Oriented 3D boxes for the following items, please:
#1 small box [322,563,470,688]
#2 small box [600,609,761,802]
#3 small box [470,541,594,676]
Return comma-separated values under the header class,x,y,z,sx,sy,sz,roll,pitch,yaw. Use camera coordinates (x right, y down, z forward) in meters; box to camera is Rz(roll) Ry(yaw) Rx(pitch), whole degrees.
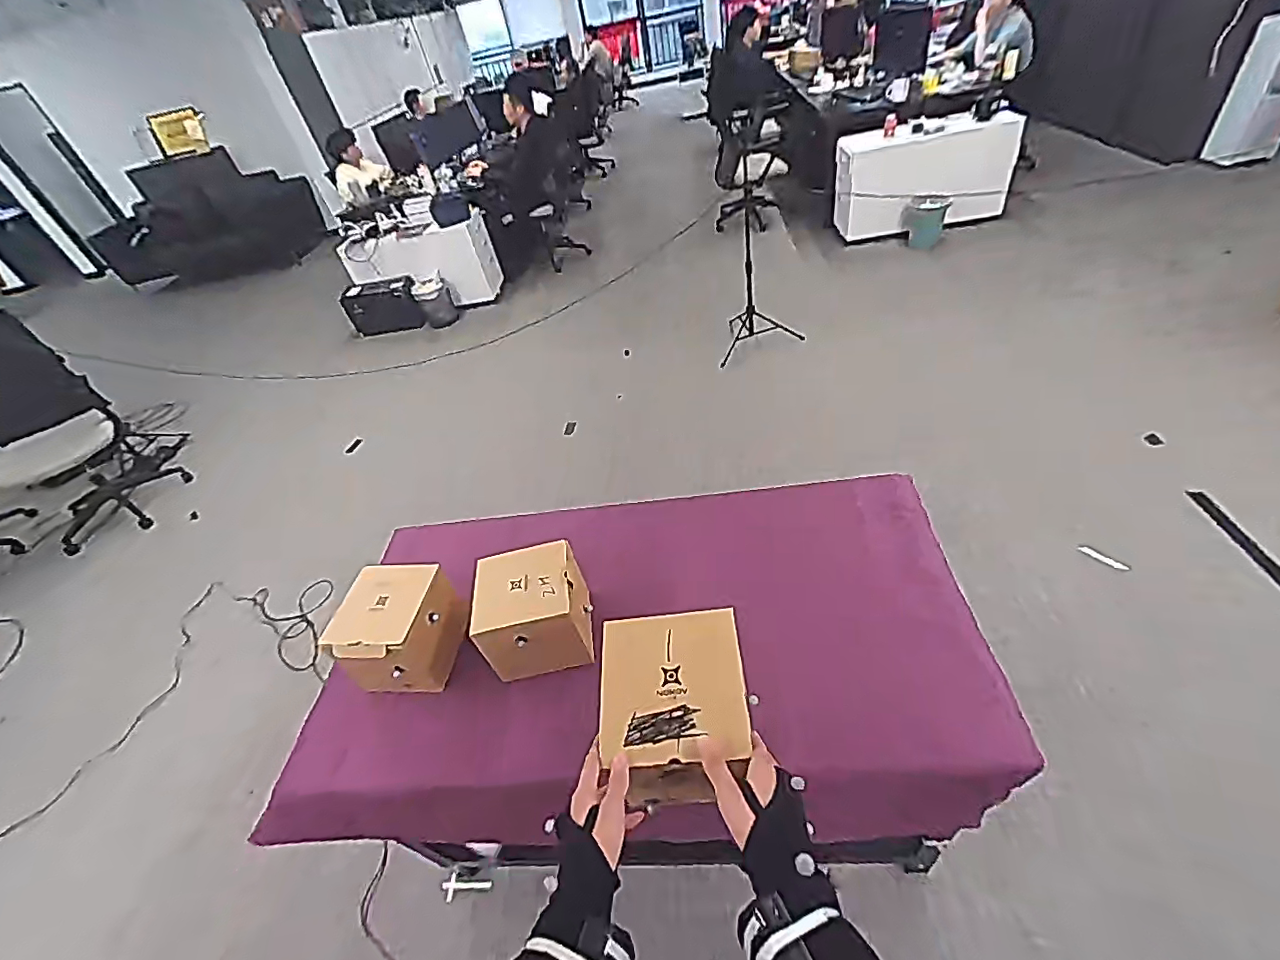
class,x,y,z,sx,sy,sz,roll,pitch,yaw
small box,-0.449,0.280,1.032,0.168,0.176,0.179,-2,42,11
small box,0.054,0.284,0.667,0.168,0.176,0.179,-8,46,8
small box,-0.192,0.242,1.004,0.179,0.176,0.168,-12,42,1
